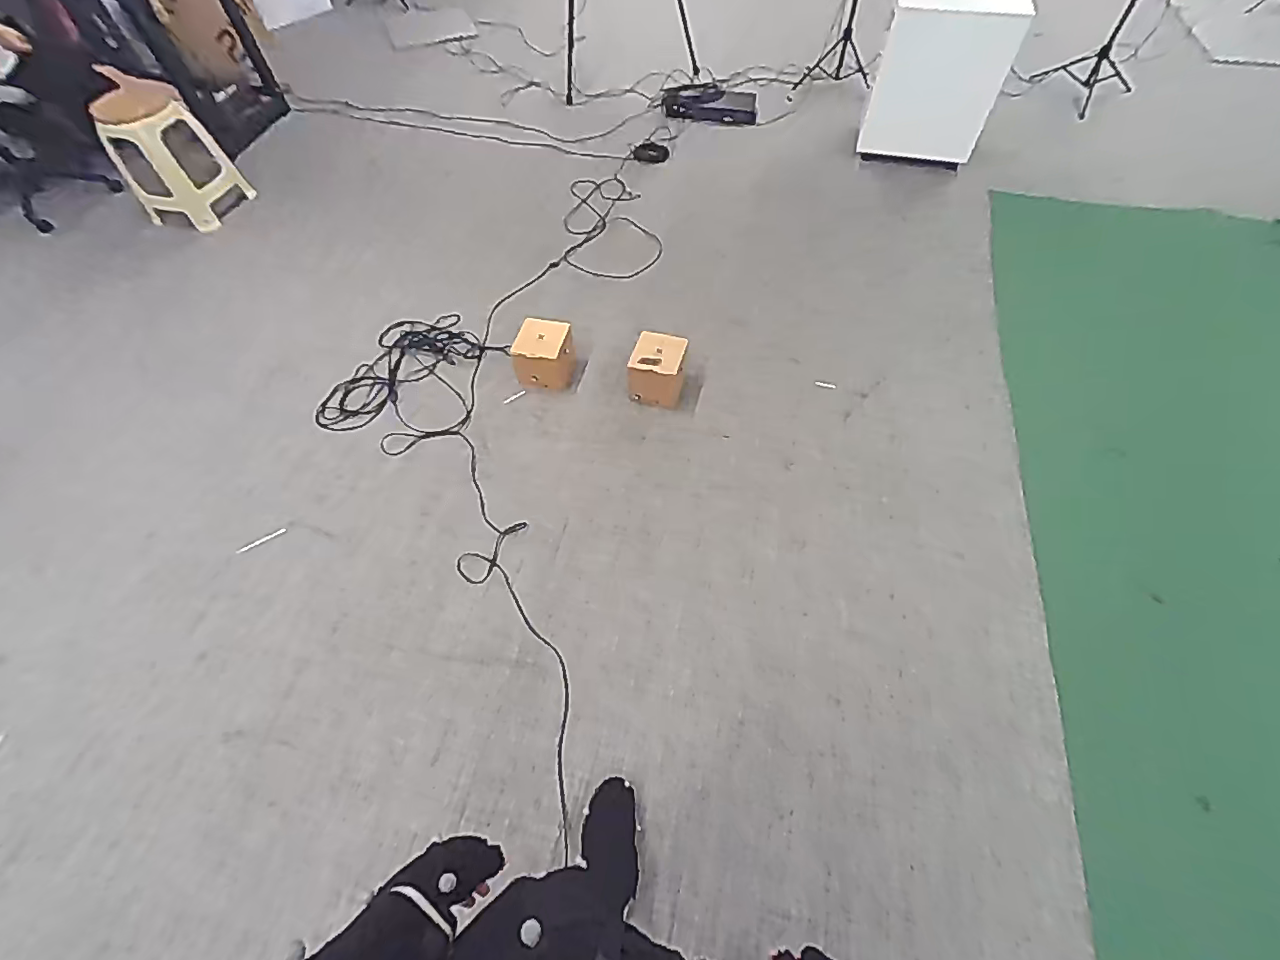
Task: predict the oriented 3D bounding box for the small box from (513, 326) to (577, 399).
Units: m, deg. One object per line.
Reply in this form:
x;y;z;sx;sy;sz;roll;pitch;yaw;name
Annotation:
-0.326;-0.413;1.907;0.168;0.176;0.179;9;58;9;small box

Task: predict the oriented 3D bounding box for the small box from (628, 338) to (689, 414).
0.068;-0.352;1.848;0.168;0.176;0.179;14;58;11;small box
